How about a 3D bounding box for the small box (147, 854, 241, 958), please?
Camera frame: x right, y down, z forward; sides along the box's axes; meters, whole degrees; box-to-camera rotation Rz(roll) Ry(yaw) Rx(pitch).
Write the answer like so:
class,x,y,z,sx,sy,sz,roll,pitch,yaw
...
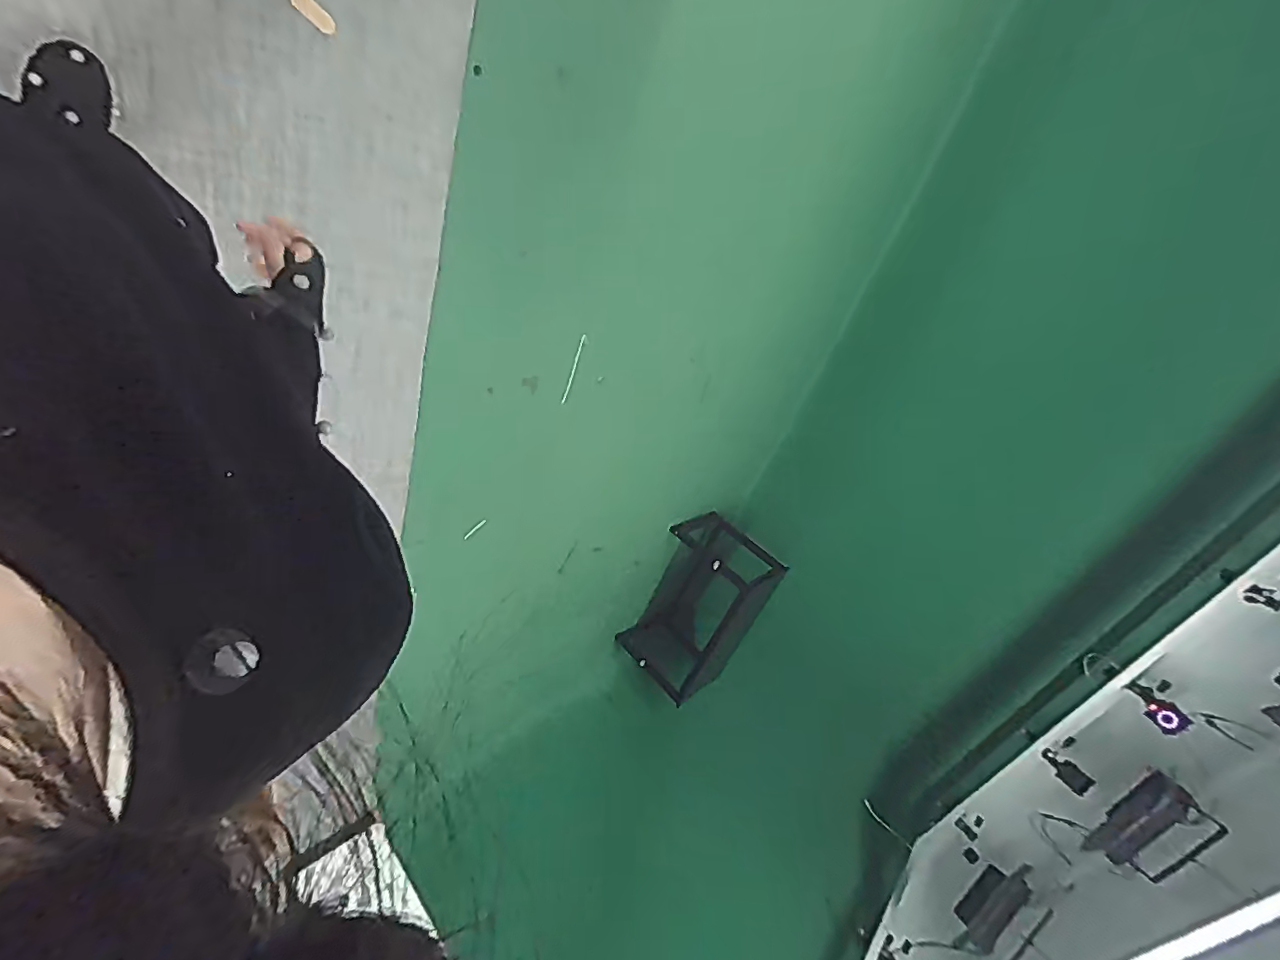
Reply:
class,x,y,z,sx,sy,sz,roll,pitch,yaw
small box,-1.188,1.137,1.421,0.168,0.176,0.179,-22,138,-43
